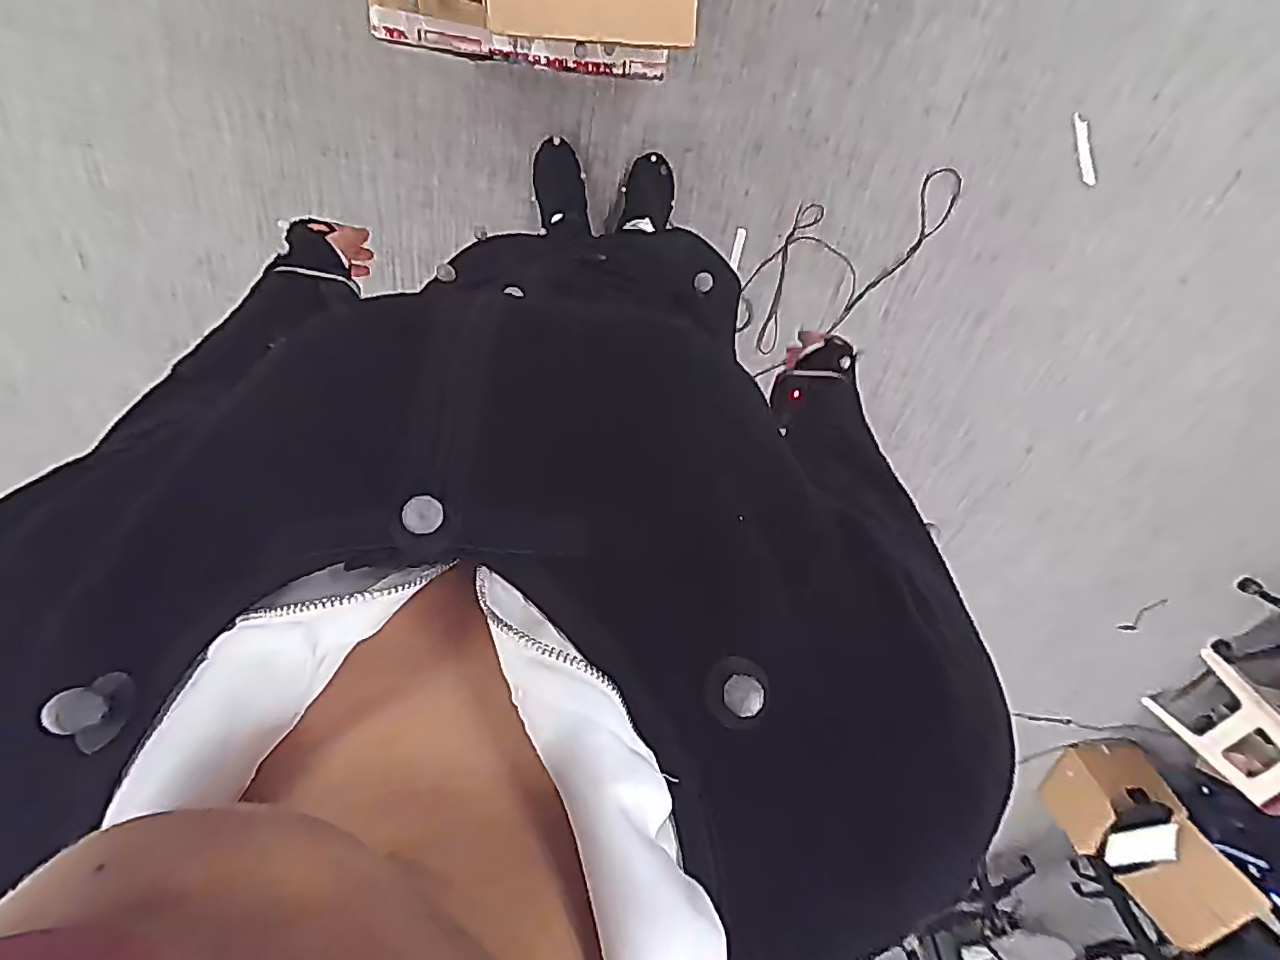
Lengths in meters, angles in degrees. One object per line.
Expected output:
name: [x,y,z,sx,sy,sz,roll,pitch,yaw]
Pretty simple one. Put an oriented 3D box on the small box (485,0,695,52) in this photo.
small box: [-0.037,-0.489,0.477,0.179,0.176,0.168,2,129,-3]
